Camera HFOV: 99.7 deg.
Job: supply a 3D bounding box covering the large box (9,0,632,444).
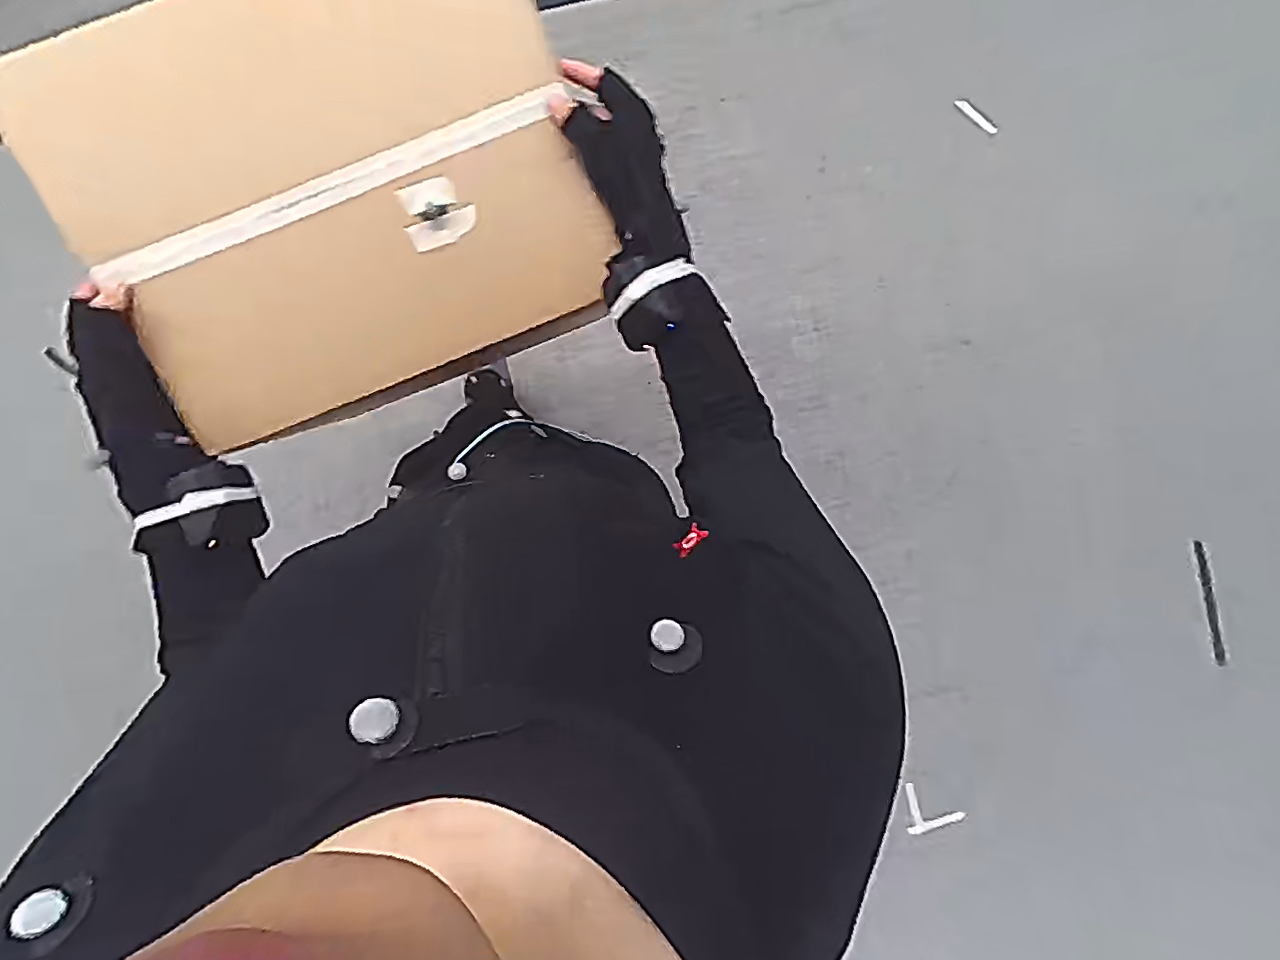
[{"bbox_3d":[-0.263,-0.274,0.594,0.408,0.320,0.320,-23,105,-3],"label":"large box"}]
